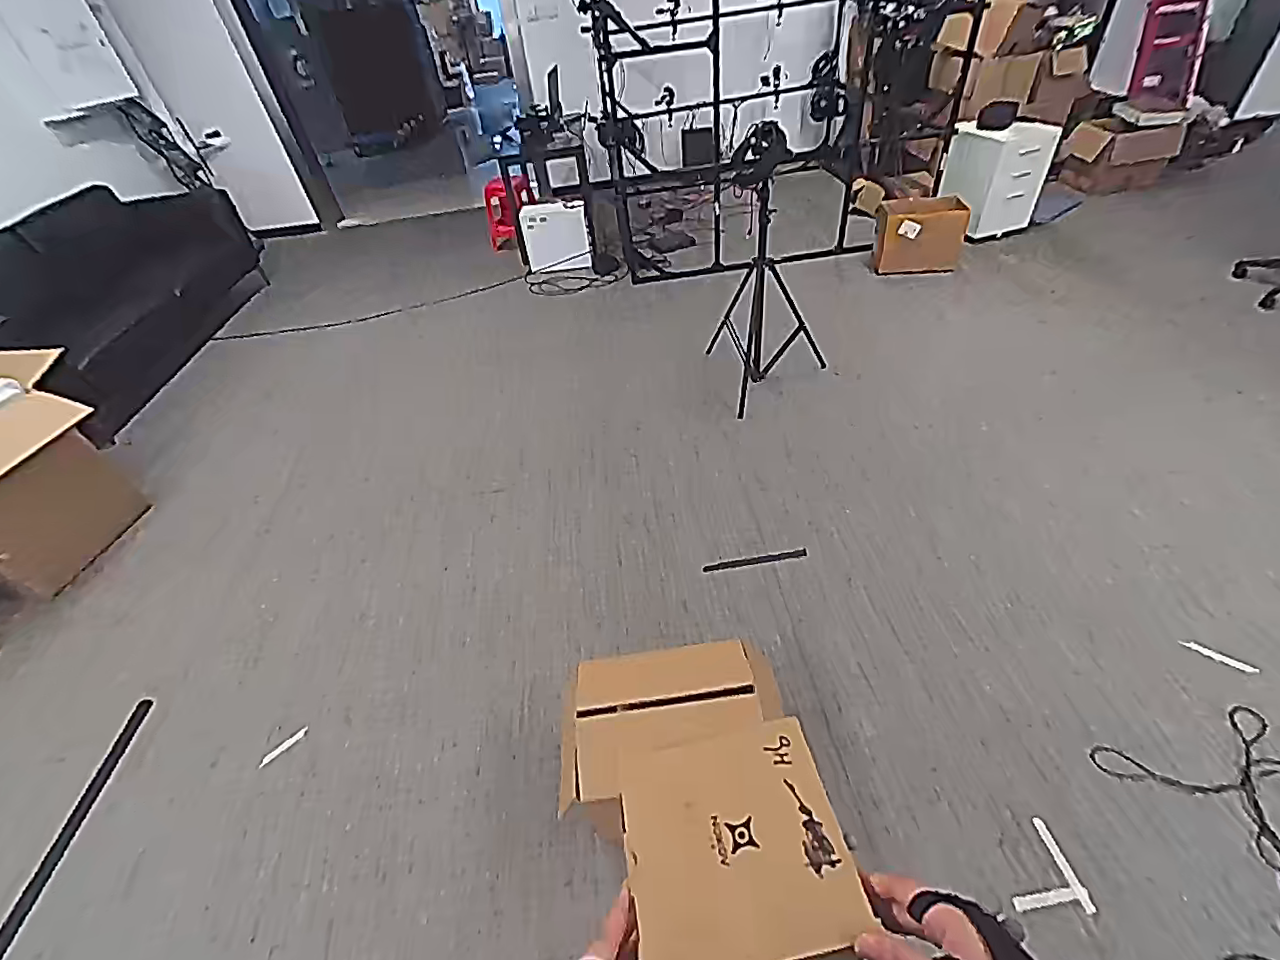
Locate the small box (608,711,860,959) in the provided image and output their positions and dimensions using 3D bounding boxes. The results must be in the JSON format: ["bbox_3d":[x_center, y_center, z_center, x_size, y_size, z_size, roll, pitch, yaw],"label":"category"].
[{"bbox_3d":[0.078,0.347,0.502,0.179,0.176,0.168,-12,42,-2],"label":"small box"}]
